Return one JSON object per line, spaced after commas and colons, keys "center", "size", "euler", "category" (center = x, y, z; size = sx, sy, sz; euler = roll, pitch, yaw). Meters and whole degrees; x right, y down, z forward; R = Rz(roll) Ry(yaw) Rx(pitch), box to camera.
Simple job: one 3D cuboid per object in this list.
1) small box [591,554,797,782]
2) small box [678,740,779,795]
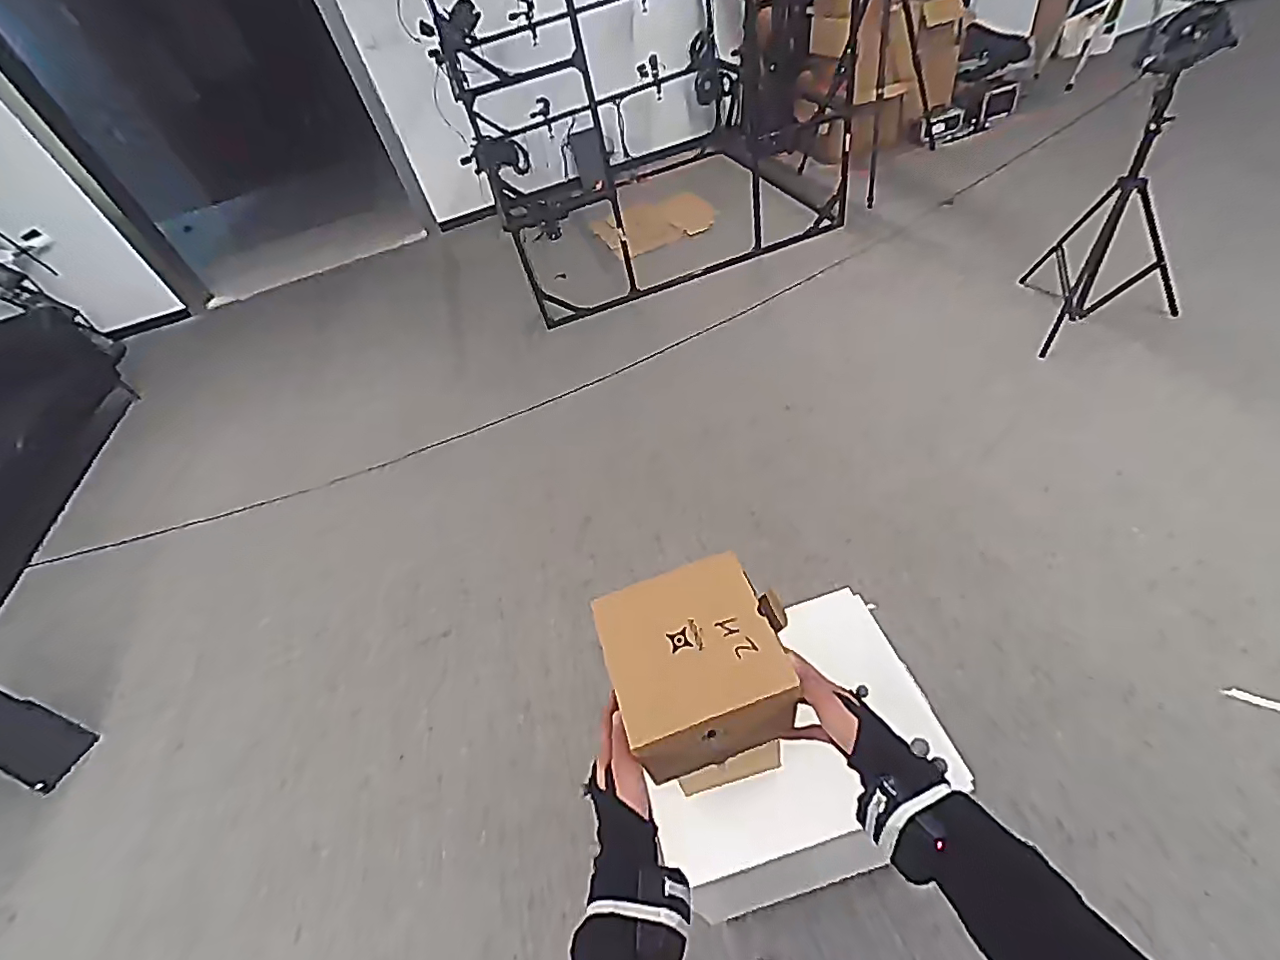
{"center": [0.062, 0.219, 0.619], "size": [0.179, 0.176, 0.168], "euler": [-19, 49, -4], "category": "small box"}
{"center": [0.128, 0.414, 0.928], "size": [0.179, 0.176, 0.168], "euler": [-17, 45, -1], "category": "small box"}
